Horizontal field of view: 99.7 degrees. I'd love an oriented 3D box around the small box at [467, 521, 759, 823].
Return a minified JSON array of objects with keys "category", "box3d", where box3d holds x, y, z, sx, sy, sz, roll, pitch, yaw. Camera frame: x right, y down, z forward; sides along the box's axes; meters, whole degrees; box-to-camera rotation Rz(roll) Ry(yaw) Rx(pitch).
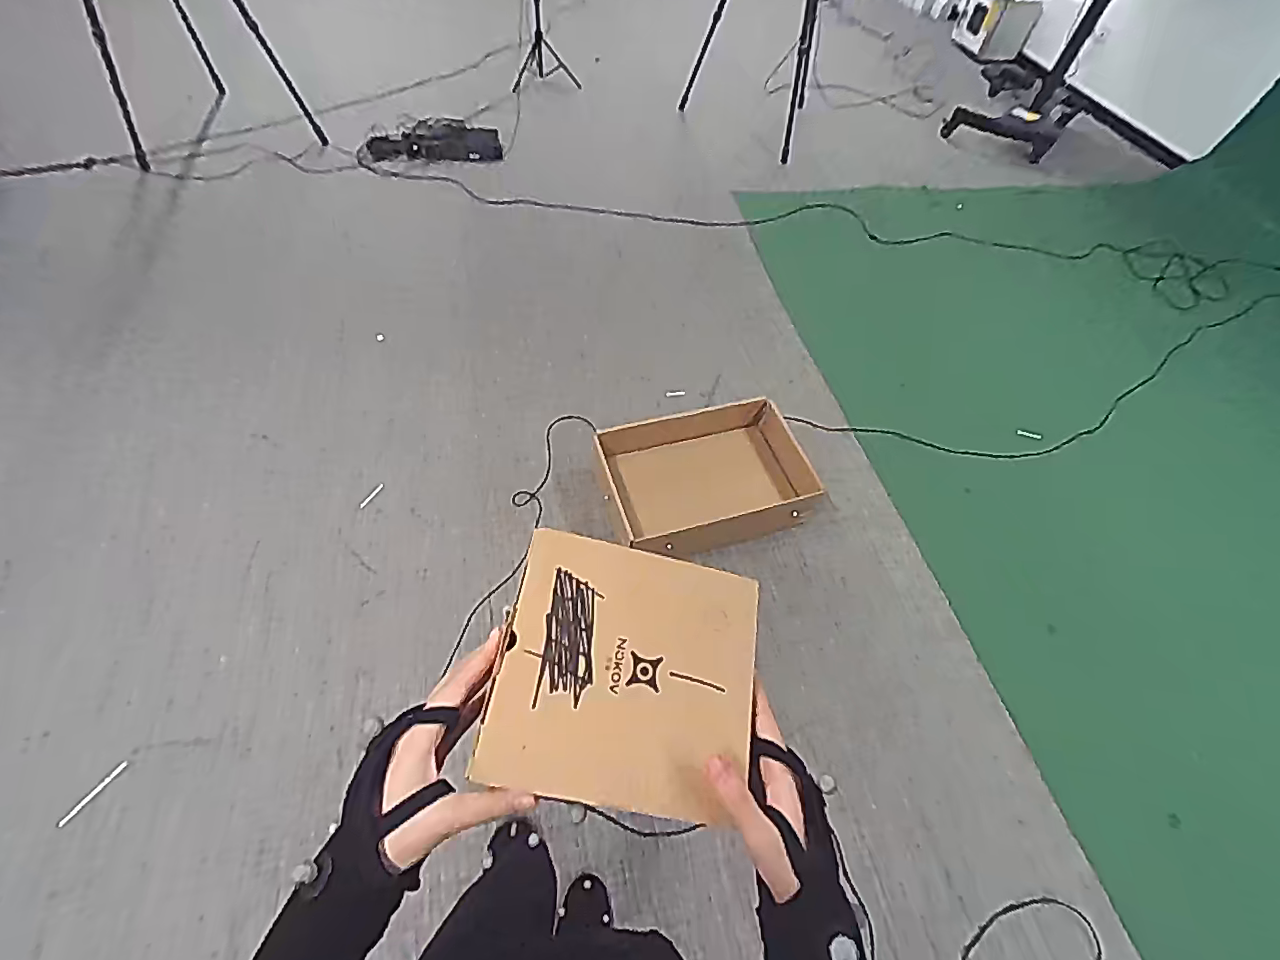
[{"category":"small box","box3d":[-0.025,0.156,0.429,0.179,0.176,0.168,16,60,-9]}]
